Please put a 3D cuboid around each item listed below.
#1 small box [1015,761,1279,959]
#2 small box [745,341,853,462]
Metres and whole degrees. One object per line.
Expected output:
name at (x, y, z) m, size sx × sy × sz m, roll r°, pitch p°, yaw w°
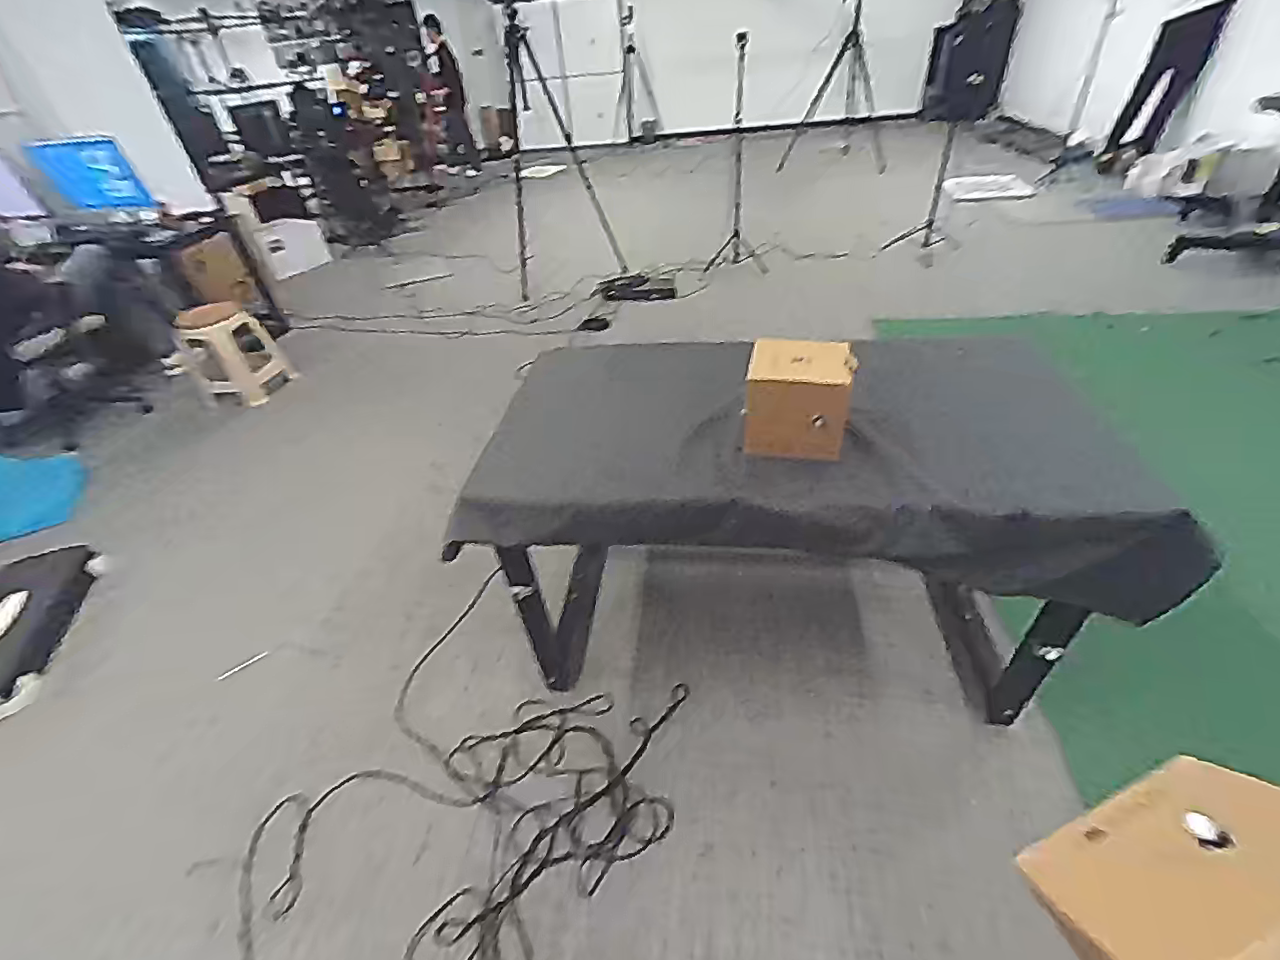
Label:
small box at (0.398, 0.309, 0.345) m, size 0.168 × 0.176 × 0.179 m, roll -34°, pitch 75°, yaw 1°
small box at (0.299, -0.149, 1.030) m, size 0.179 × 0.176 × 0.168 m, roll 5°, pitch 39°, yaw 15°
